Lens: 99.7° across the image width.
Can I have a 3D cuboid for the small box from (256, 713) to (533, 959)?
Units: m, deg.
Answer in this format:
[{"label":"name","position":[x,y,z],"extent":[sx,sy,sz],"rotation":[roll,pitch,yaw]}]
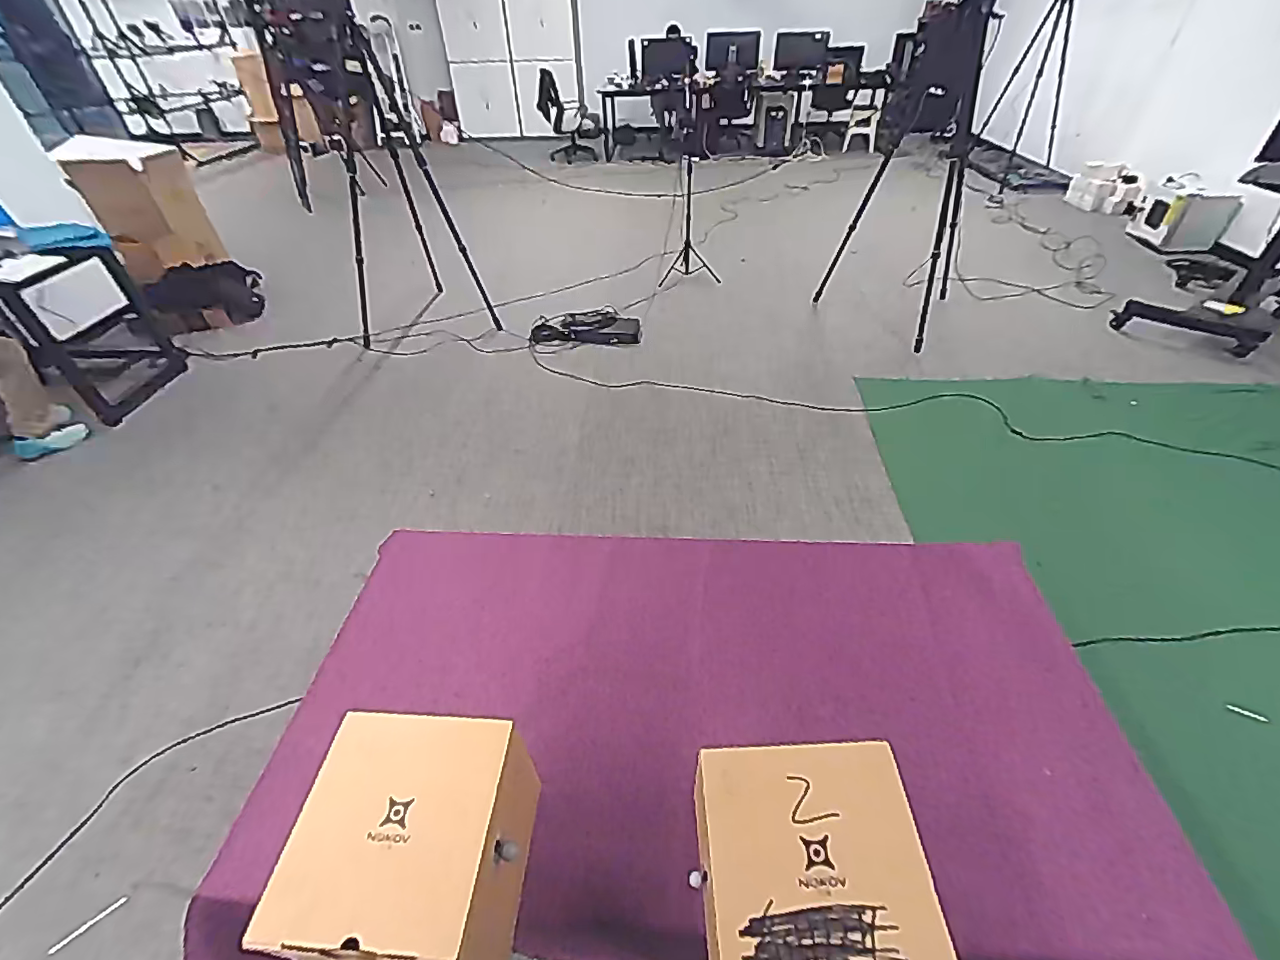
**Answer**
[{"label":"small box","position":[-0.207,0.351,0.523],"extent":[0.168,0.176,0.179],"rotation":[1,44,4]}]
